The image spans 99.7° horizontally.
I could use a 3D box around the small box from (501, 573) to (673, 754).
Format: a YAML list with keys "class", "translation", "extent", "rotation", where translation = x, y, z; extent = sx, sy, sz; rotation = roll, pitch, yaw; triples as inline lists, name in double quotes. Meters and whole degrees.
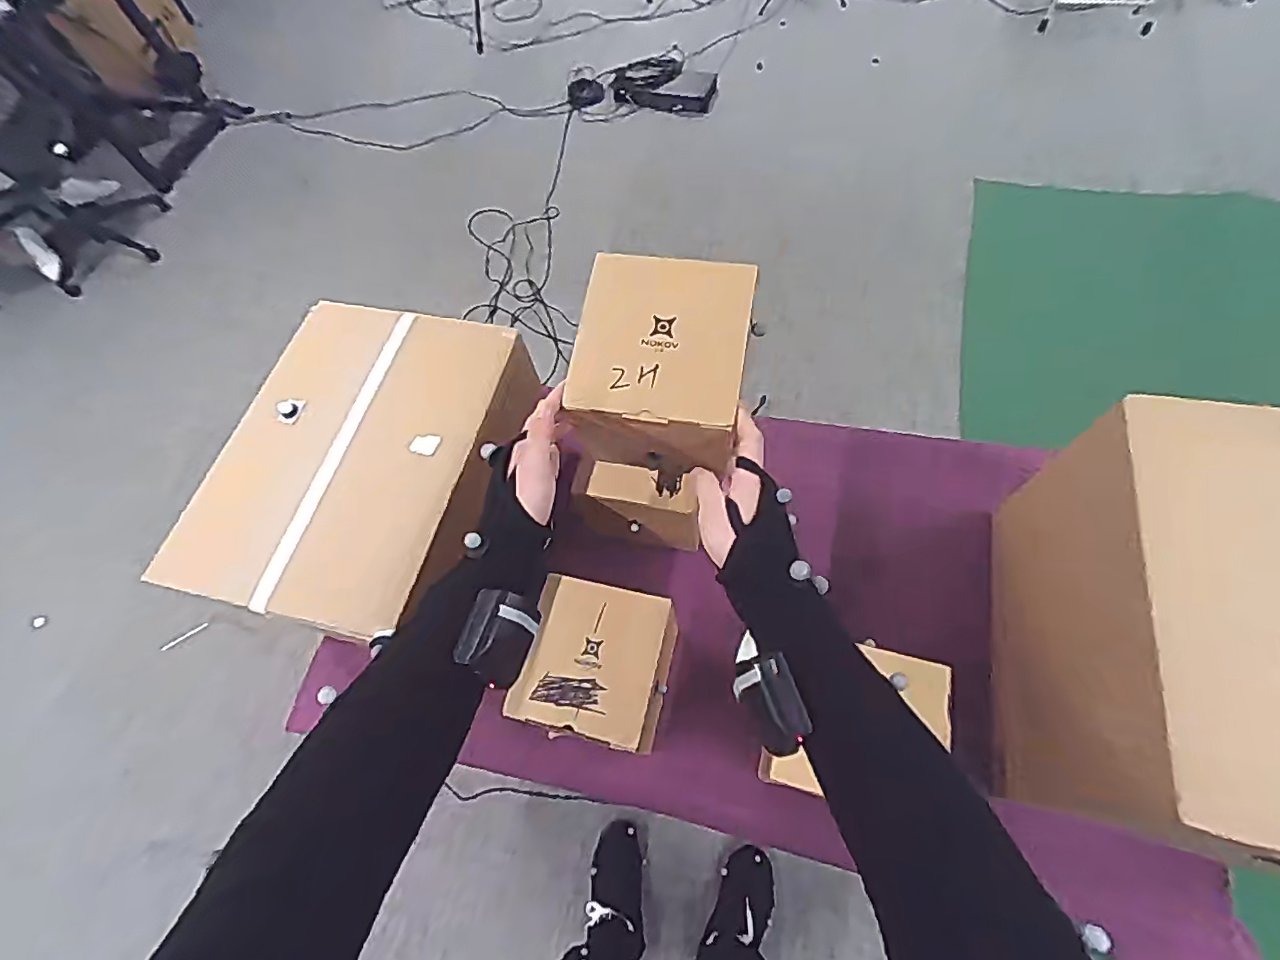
- class: "small box"
  translation: [-0.054, 0.245, 0.709]
  extent: [0.168, 0.176, 0.179]
  rotation: [11, 64, 11]

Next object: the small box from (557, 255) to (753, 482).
- class: "small box"
  translation: [0.024, -0.114, 0.596]
  extent: [0.168, 0.176, 0.179]
  rotation: [9, 74, 10]

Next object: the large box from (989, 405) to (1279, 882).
- class: "large box"
  translation: [0.617, 0.185, 0.587]
  extent: [0.320, 0.320, 0.408]
  rotation: [10, 66, 13]
